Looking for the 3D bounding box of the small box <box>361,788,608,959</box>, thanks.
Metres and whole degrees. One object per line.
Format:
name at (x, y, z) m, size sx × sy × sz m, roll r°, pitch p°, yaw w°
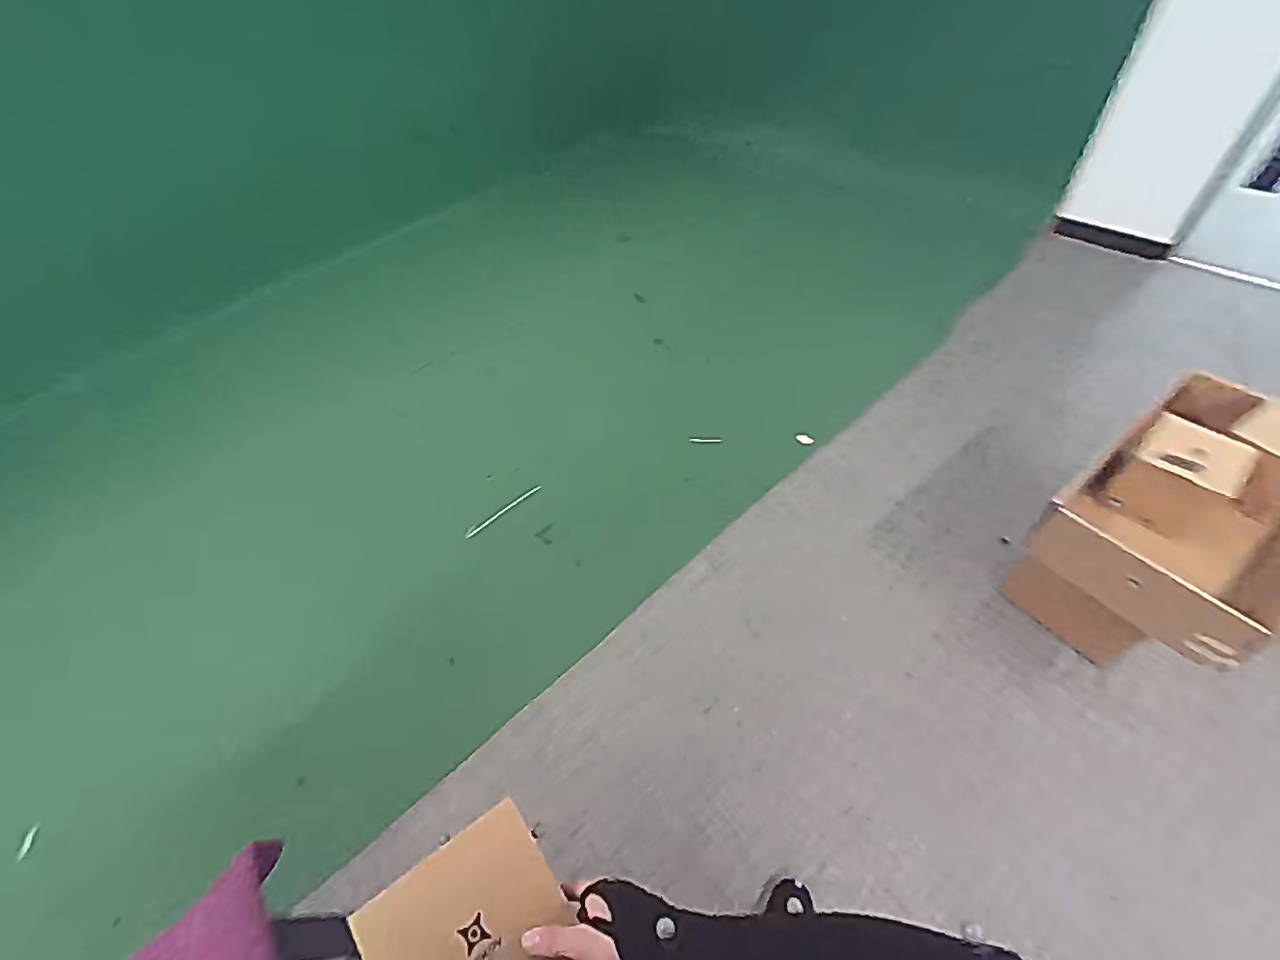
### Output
small box at (-0.155, 0.455, 0.555) m, size 0.168 × 0.176 × 0.179 m, roll -27°, pitch 66°, yaw -26°
